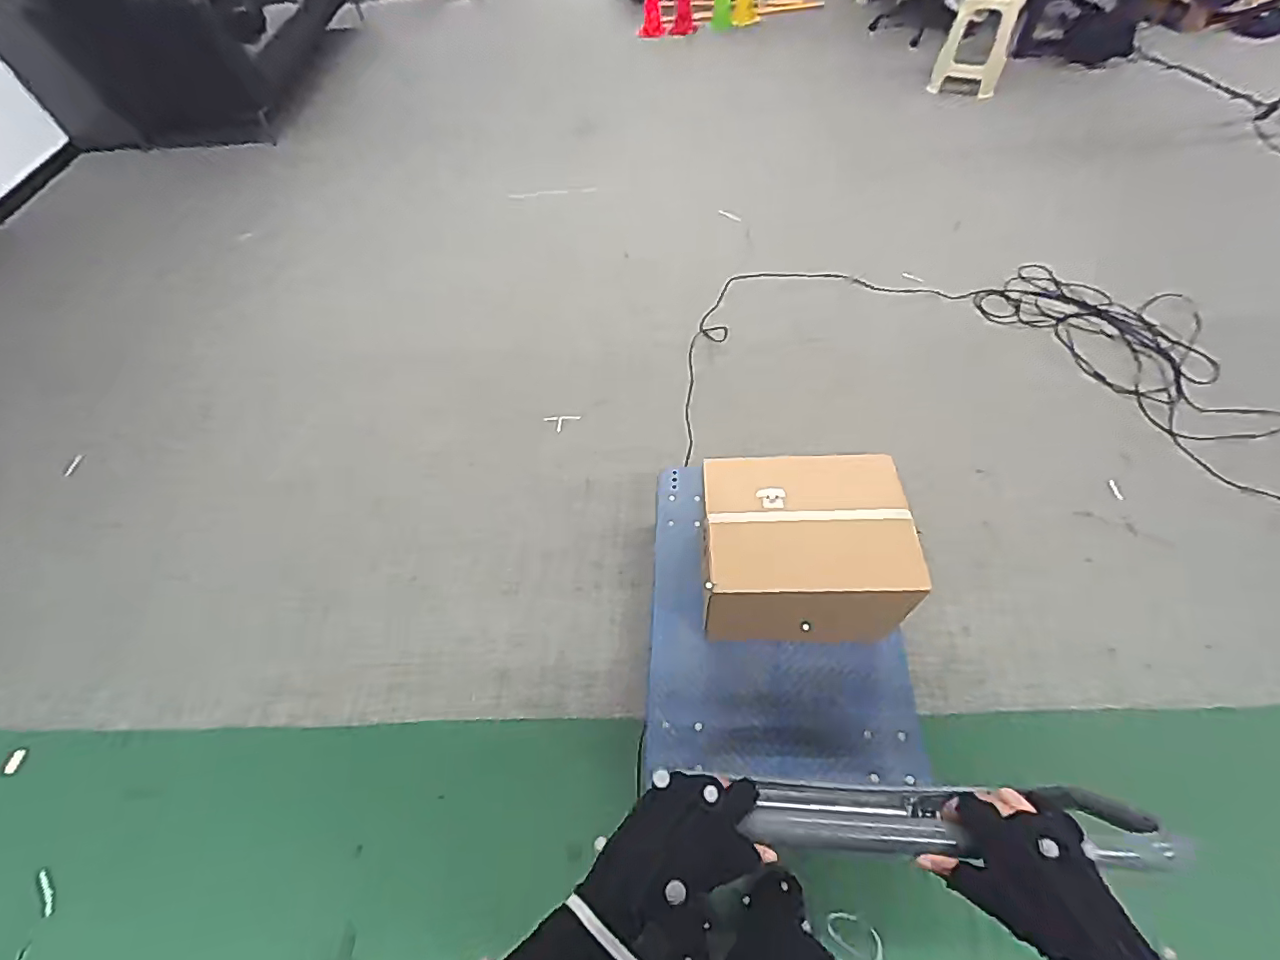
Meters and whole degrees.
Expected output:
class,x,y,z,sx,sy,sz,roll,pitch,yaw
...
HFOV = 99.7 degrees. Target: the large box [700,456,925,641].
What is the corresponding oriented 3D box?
class,x,y,z,sx,sy,sz,roll,pitch,yaw
large box,0.347,0.165,1.219,0.408,0.320,0.320,-2,55,4
